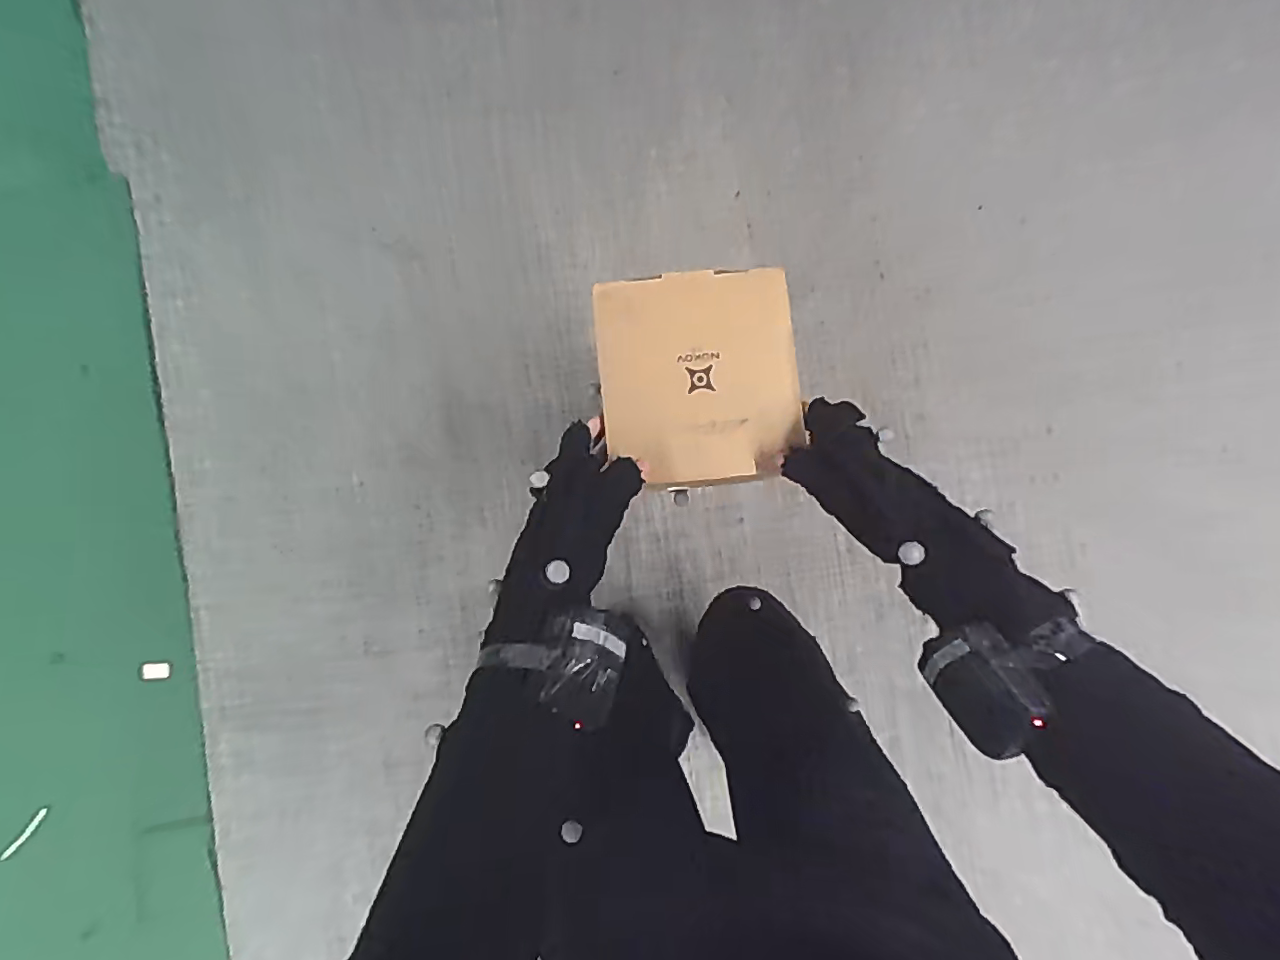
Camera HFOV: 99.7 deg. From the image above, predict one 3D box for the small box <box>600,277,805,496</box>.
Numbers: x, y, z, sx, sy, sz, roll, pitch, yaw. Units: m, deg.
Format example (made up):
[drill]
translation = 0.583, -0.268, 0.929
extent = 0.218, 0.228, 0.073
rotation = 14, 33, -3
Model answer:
[small box]
translation = 0.050, -0.080, 0.545
extent = 0.168, 0.176, 0.179
rotation = -6, 87, -2
